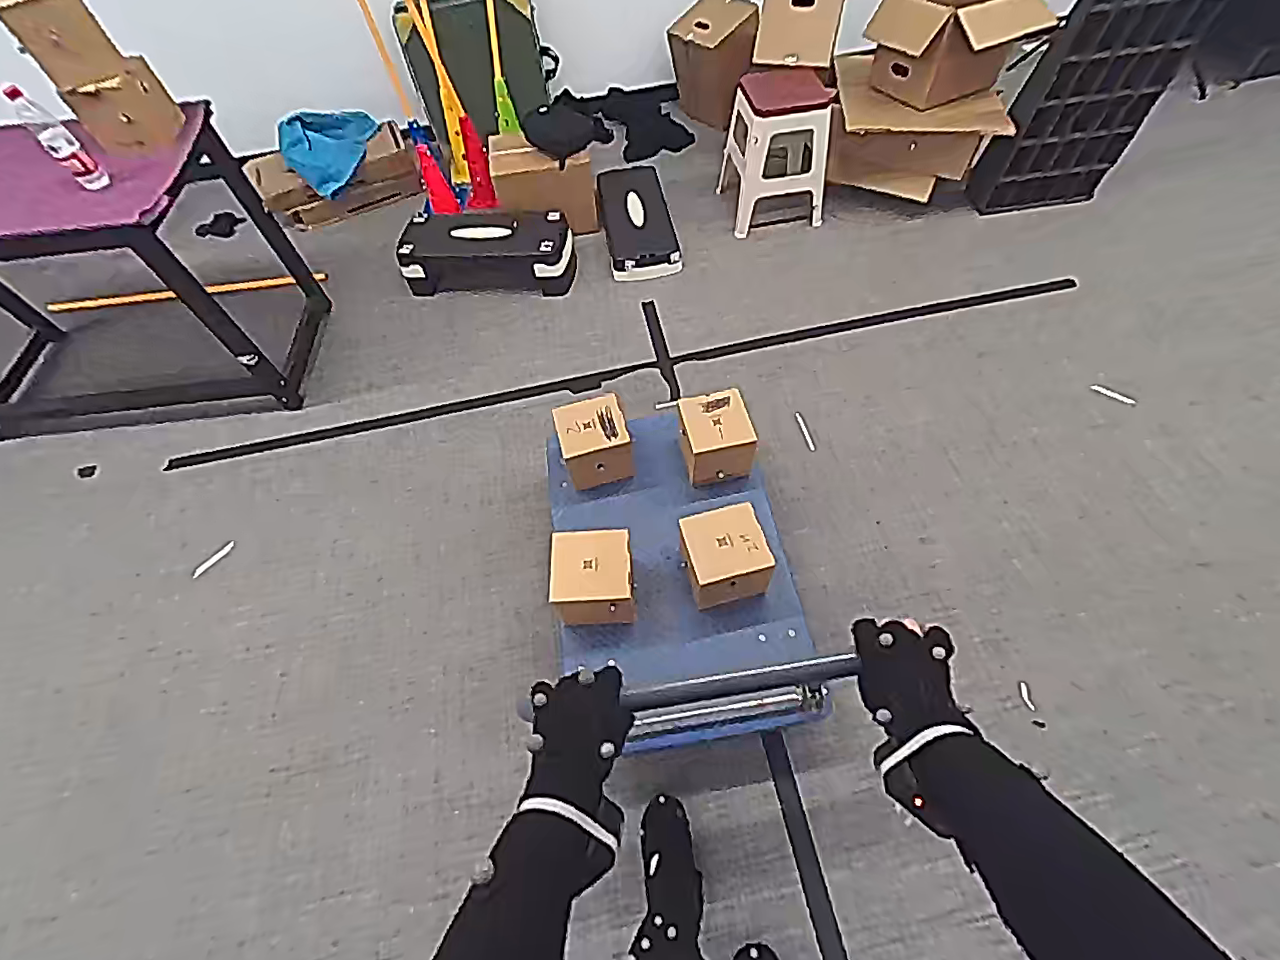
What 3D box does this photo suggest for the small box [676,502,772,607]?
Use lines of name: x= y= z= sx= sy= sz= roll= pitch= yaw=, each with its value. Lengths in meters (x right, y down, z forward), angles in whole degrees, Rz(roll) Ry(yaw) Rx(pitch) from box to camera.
small box: x=0.189 y=0.179 z=1.257 sx=0.179 sy=0.176 sz=0.168 roll=-14 pitch=59 yaw=-4

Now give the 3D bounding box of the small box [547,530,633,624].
small box: x=-0.110 y=0.228 z=1.248 sx=0.179 sy=0.176 sz=0.168 roll=-3 pitch=58 yaw=0

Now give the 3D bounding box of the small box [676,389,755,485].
small box: x=0.193 y=-0.112 z=1.434 sx=0.168 sy=0.176 sz=0.179 roll=-12 pitch=60 yaw=-3
